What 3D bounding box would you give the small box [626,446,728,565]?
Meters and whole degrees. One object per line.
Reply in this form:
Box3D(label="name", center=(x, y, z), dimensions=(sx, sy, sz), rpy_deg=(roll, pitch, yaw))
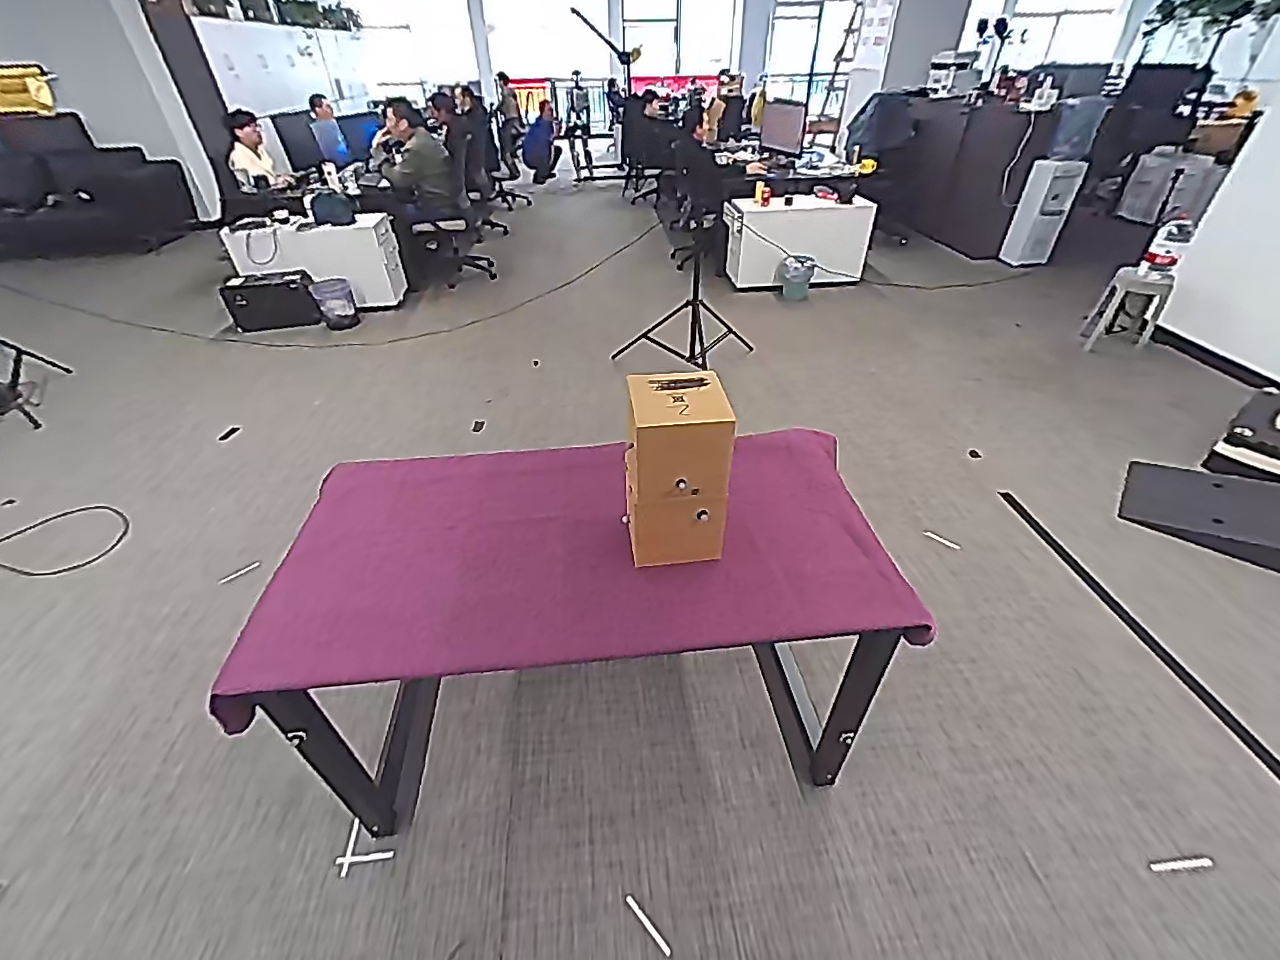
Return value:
Box3D(label="small box", center=(0.067, 0.051, 1.085), dimensions=(0.179, 0.176, 0.168), rpy_deg=(-6, 38, -5))
